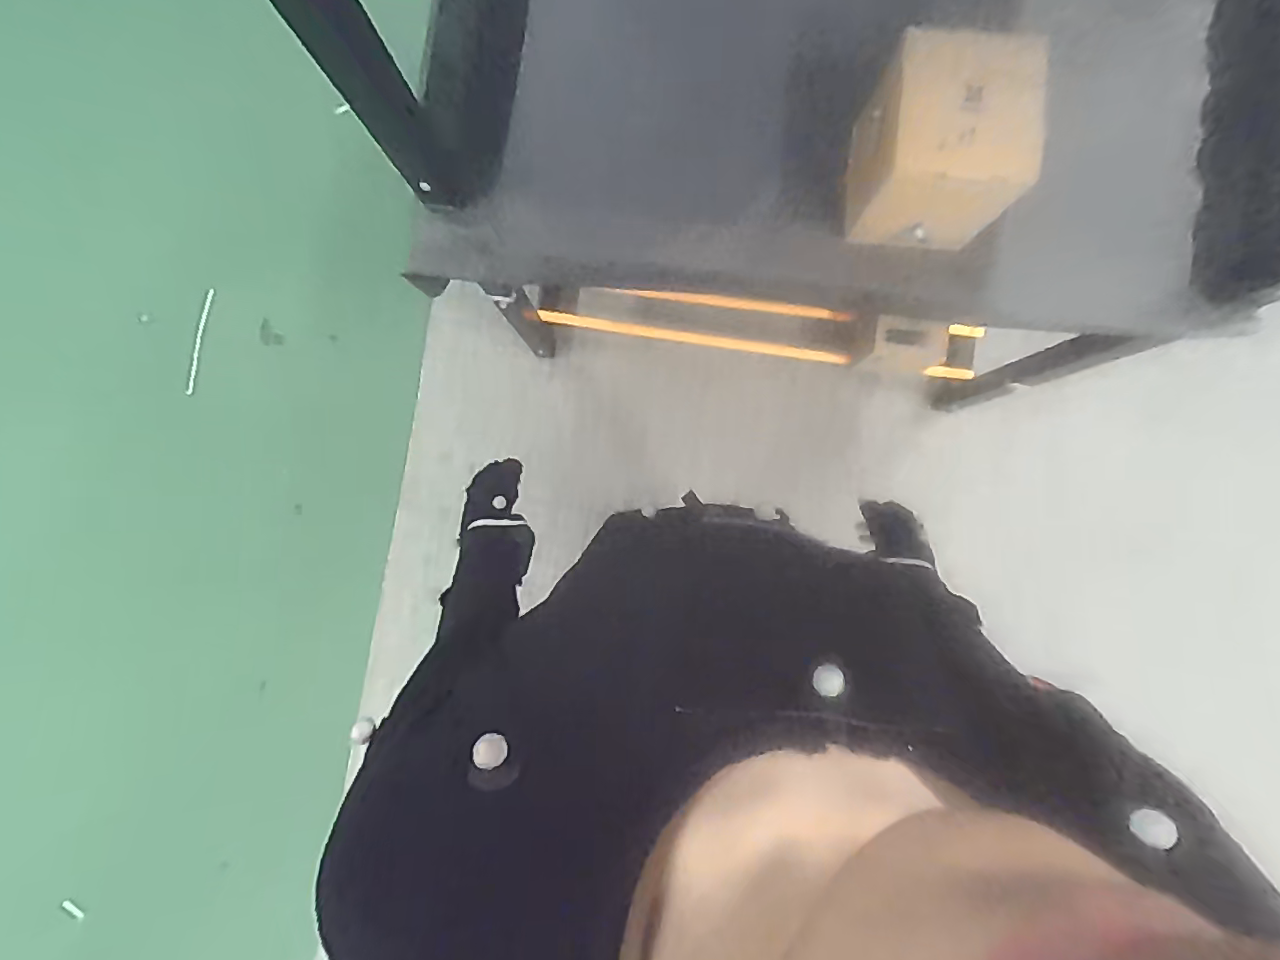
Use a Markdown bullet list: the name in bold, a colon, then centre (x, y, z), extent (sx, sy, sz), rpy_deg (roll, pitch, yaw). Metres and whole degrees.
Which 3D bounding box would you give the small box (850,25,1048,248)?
- **small box**: centre (0.387, -0.435, 0.706), extent (0.168, 0.176, 0.179), rpy_deg (6, 86, 2)
